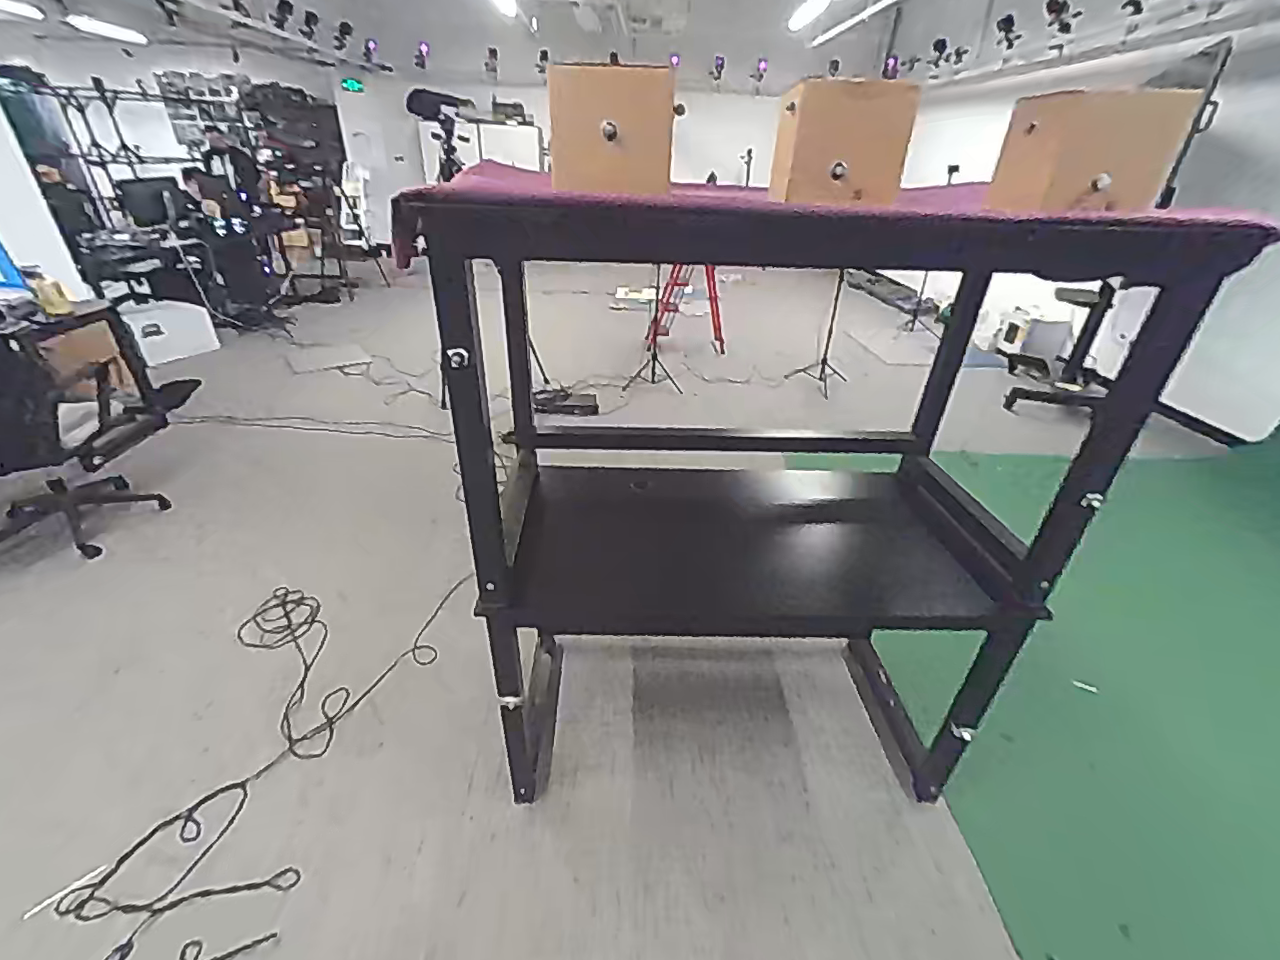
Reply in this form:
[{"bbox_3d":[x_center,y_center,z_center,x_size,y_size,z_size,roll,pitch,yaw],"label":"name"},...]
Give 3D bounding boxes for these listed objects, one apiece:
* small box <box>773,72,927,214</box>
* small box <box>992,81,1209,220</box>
[{"bbox_3d":[0.312,-0.521,0.851,0.168,0.176,0.179,3,30,2],"label":"small box"},{"bbox_3d":[0.698,-0.514,0.852,0.168,0.176,0.179,3,32,3],"label":"small box"}]
